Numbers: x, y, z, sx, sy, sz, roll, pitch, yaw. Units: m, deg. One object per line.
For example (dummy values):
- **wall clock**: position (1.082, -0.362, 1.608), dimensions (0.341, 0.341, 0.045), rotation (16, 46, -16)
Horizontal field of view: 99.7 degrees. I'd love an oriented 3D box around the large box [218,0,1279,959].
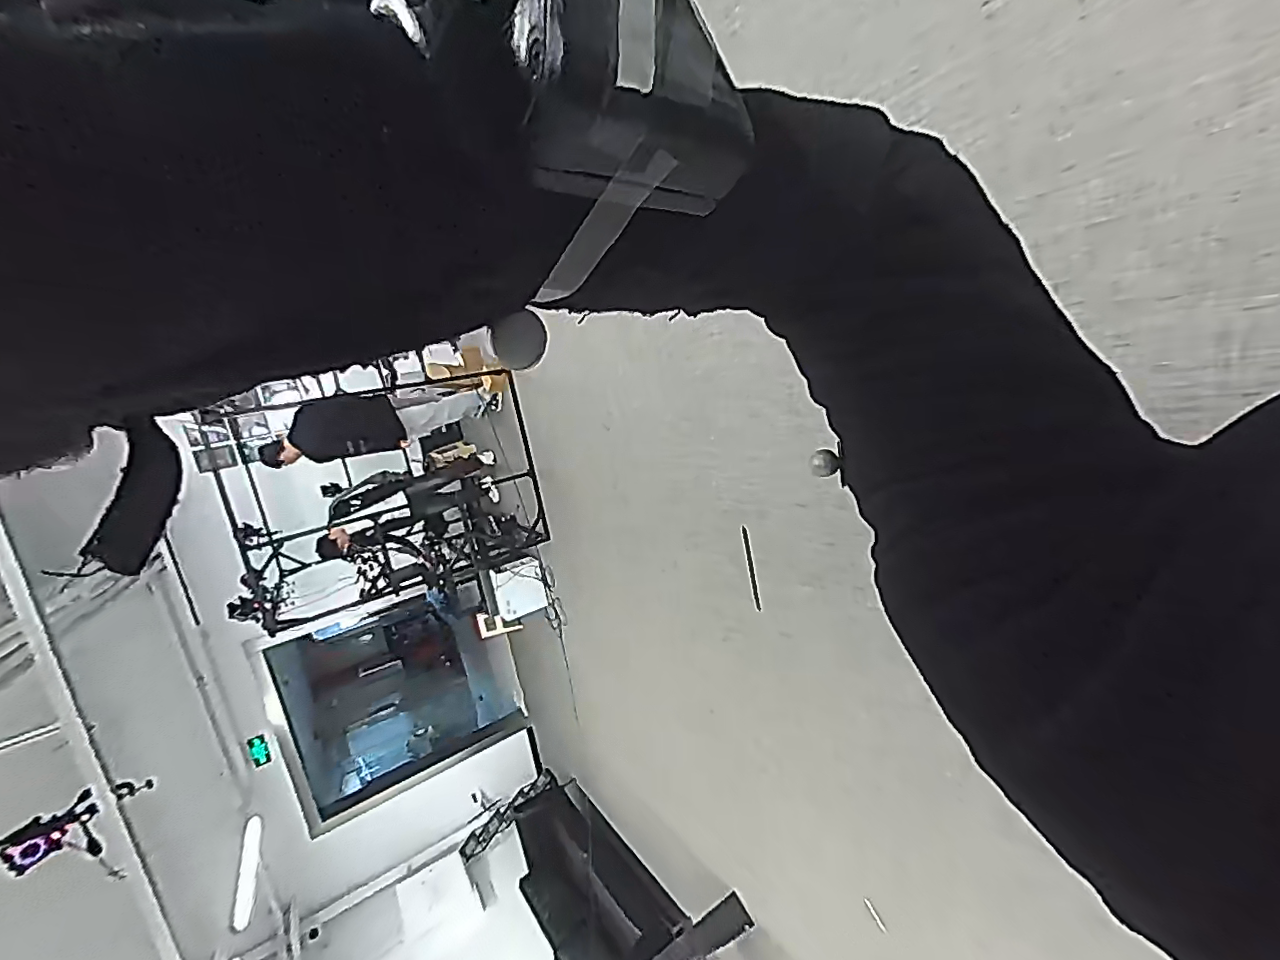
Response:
- **large box**: position (0.128, 0.048, 0.161), dimensions (0.408, 0.320, 0.320), rotation (17, -111, 54)
